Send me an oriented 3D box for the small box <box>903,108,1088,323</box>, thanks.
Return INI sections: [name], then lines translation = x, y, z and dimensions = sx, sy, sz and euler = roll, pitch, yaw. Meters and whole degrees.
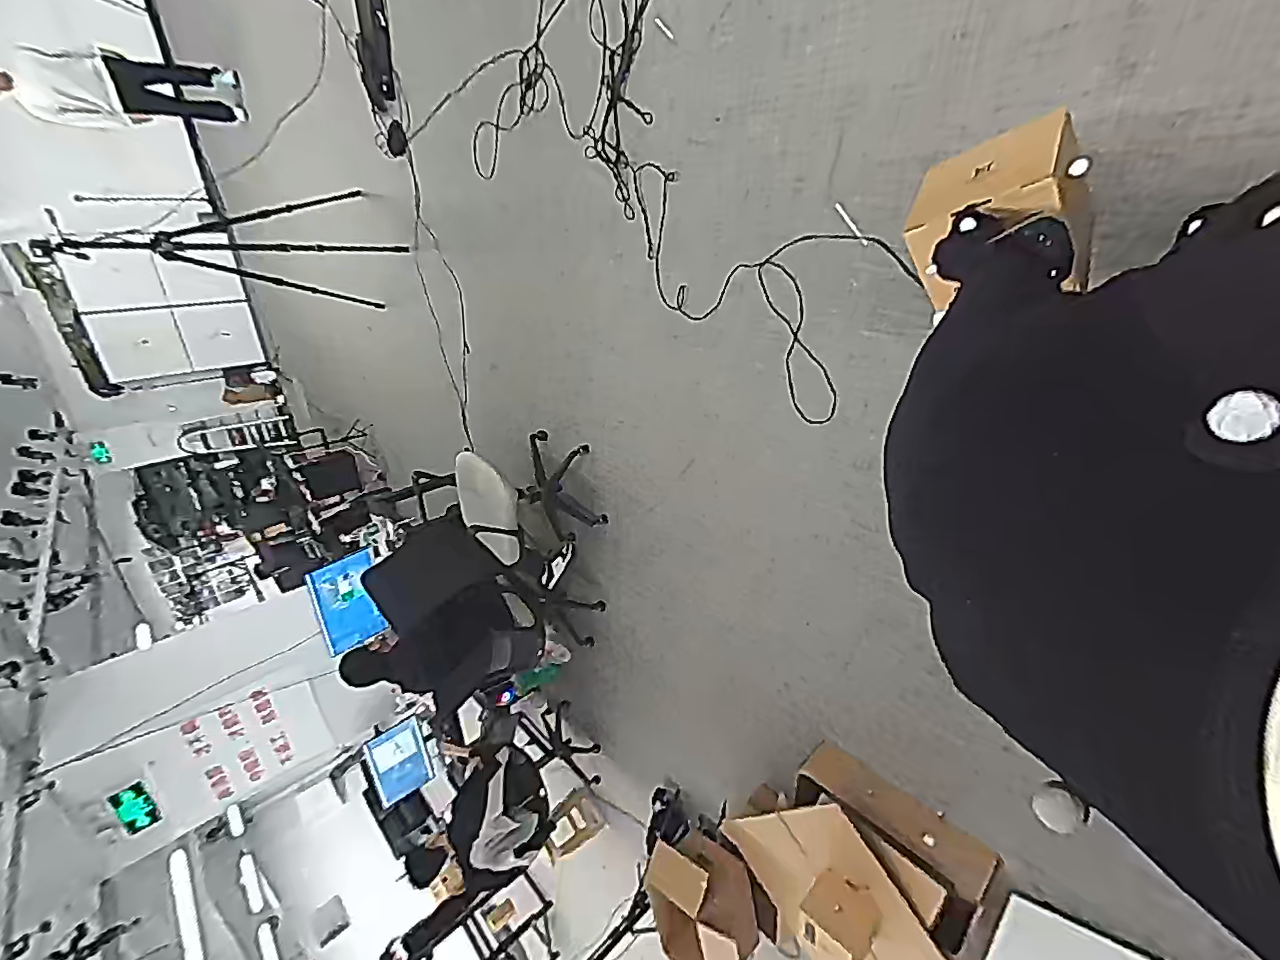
[small box]
translation = 0.492, -0.348, 0.741
dimensions = 0.168, 0.179, 0.176
euler = -5, 137, 49
